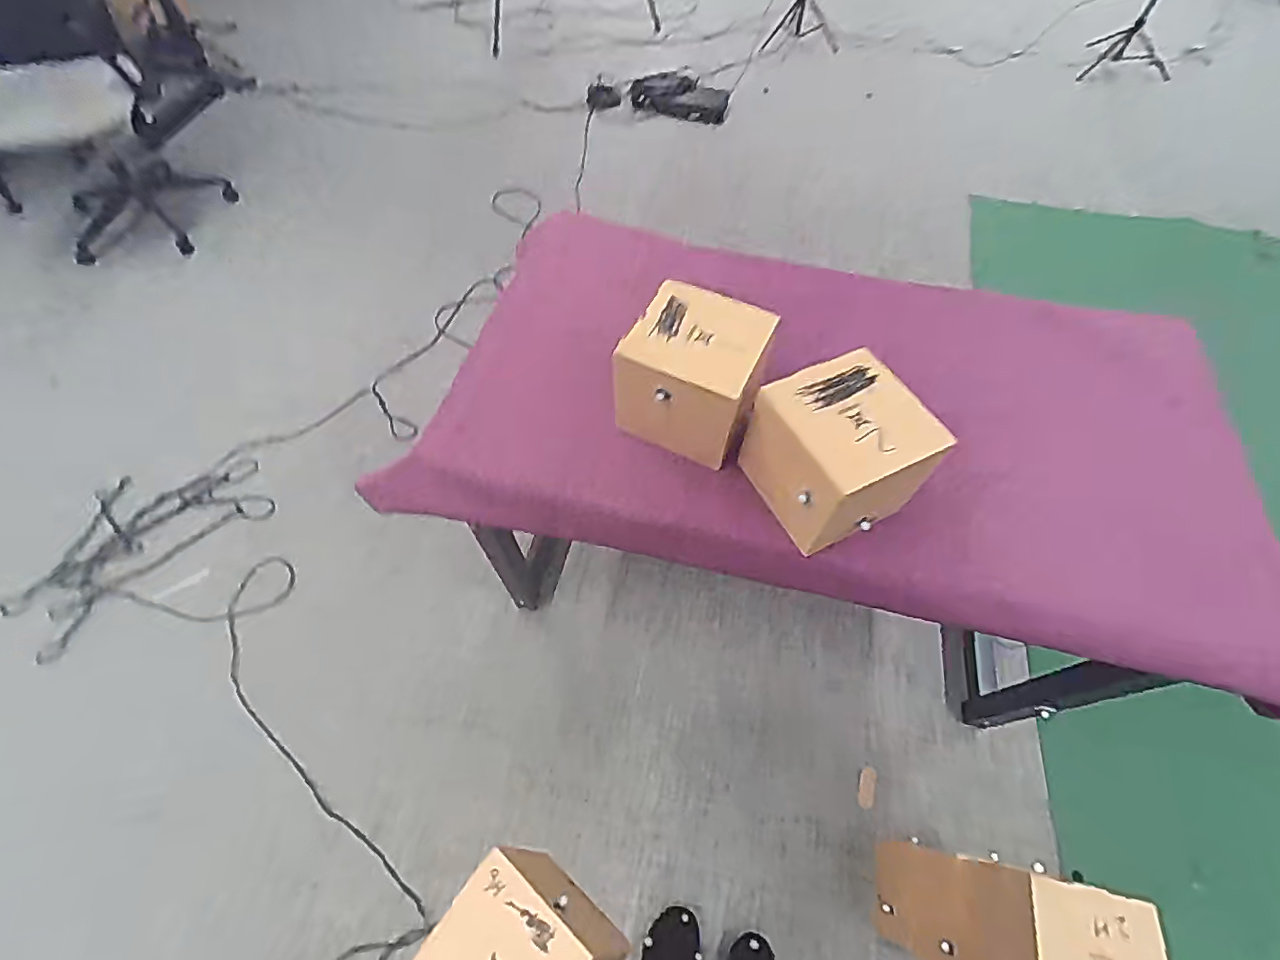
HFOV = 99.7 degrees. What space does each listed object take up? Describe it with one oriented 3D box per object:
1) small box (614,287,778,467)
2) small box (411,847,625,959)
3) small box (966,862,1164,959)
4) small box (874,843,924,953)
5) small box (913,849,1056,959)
[{"bbox_3d":[0.076,-0.145,0.794,0.179,0.176,0.168,24,61,13],"label":"small box"},{"bbox_3d":[-0.140,0.571,0.627,0.168,0.176,0.179,27,65,31],"label":"small box"},{"bbox_3d":[0.592,0.672,0.765,0.168,0.176,0.179,11,60,6],"label":"small box"},{"bbox_3d":[0.574,0.827,1.052,0.179,0.176,0.168,13,60,7],"label":"small box"},{"bbox_3d":[0.579,0.745,0.912,0.168,0.176,0.179,11,60,6],"label":"small box"}]
